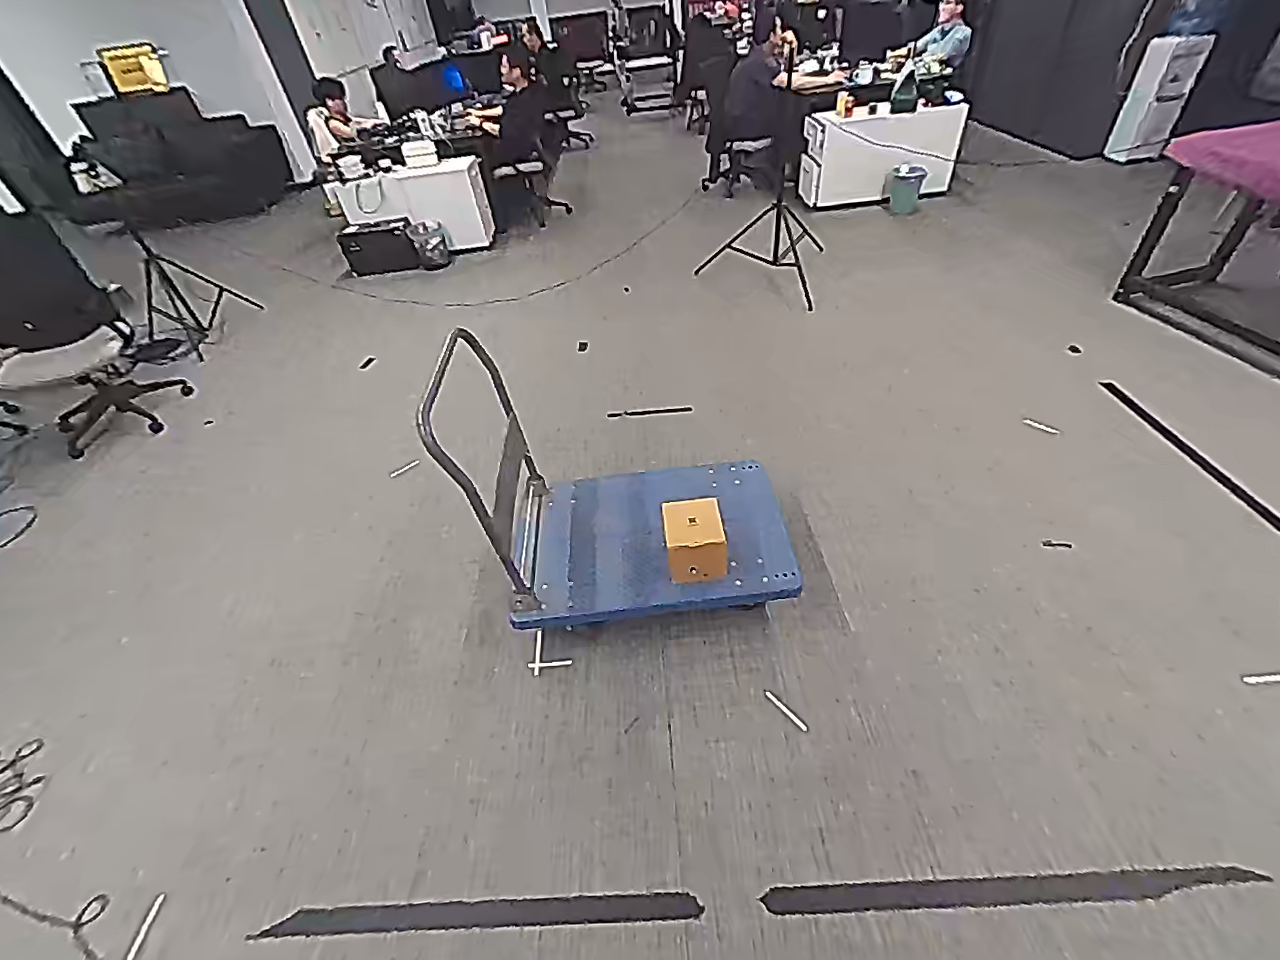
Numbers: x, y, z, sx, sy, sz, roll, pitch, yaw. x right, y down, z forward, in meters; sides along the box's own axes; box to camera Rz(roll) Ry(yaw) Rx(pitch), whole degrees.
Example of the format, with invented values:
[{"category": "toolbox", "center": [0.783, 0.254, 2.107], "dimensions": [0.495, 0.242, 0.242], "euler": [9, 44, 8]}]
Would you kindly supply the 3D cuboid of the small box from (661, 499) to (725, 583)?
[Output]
[{"category": "small box", "center": [0.155, 0.182, 1.611], "dimensions": [0.168, 0.176, 0.179], "euler": [-7, 43, 1]}]
